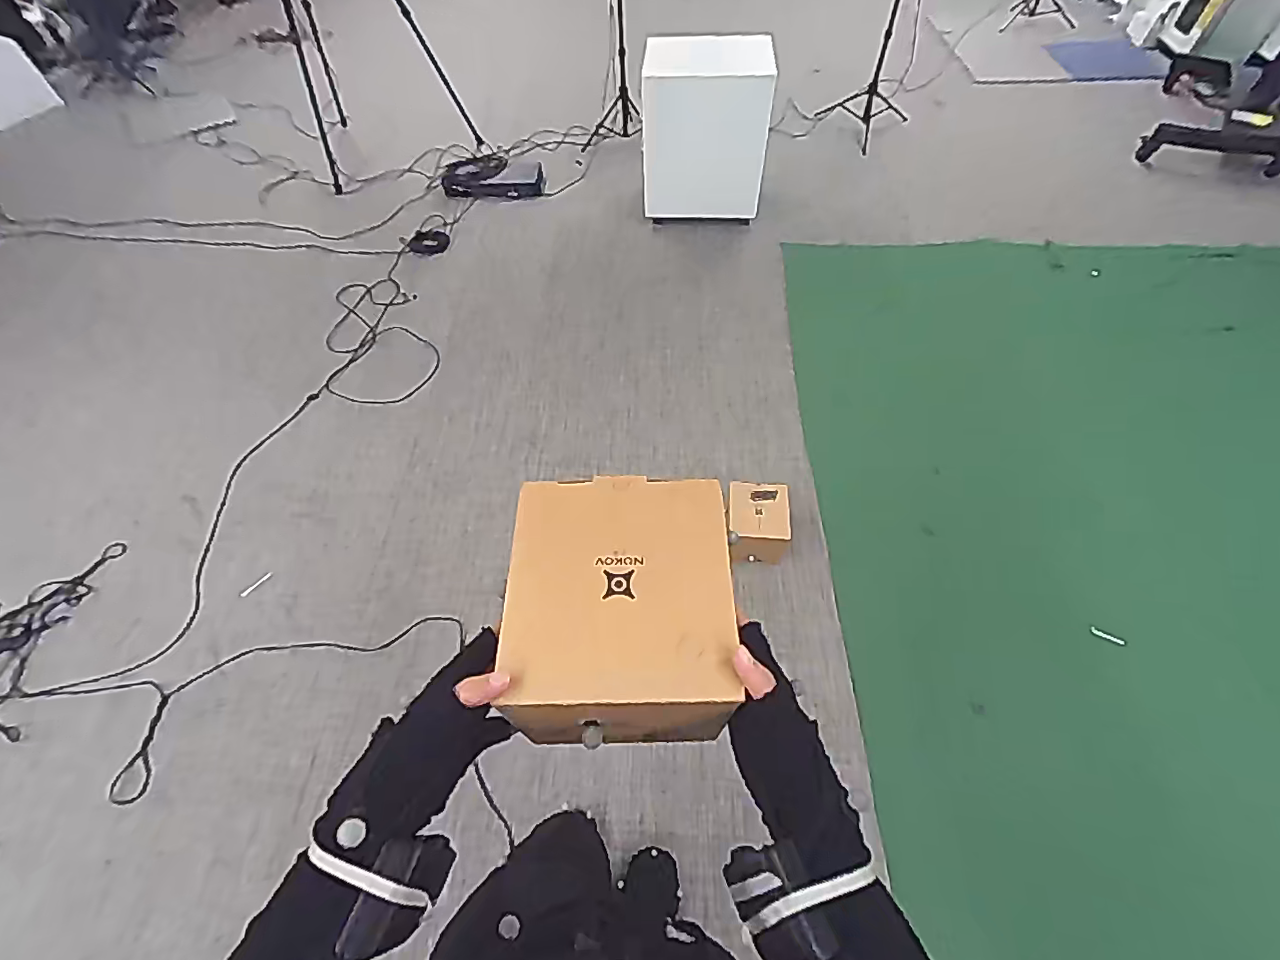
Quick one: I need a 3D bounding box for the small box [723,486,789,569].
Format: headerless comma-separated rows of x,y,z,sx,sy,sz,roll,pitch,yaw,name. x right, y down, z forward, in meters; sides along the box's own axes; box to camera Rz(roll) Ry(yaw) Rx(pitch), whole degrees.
0.324,0.138,1.555,0.168,0.176,0.179,4,57,4,small box

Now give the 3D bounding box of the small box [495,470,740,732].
-0.014,0.111,0.464,0.168,0.176,0.179,-1,54,-1,small box
